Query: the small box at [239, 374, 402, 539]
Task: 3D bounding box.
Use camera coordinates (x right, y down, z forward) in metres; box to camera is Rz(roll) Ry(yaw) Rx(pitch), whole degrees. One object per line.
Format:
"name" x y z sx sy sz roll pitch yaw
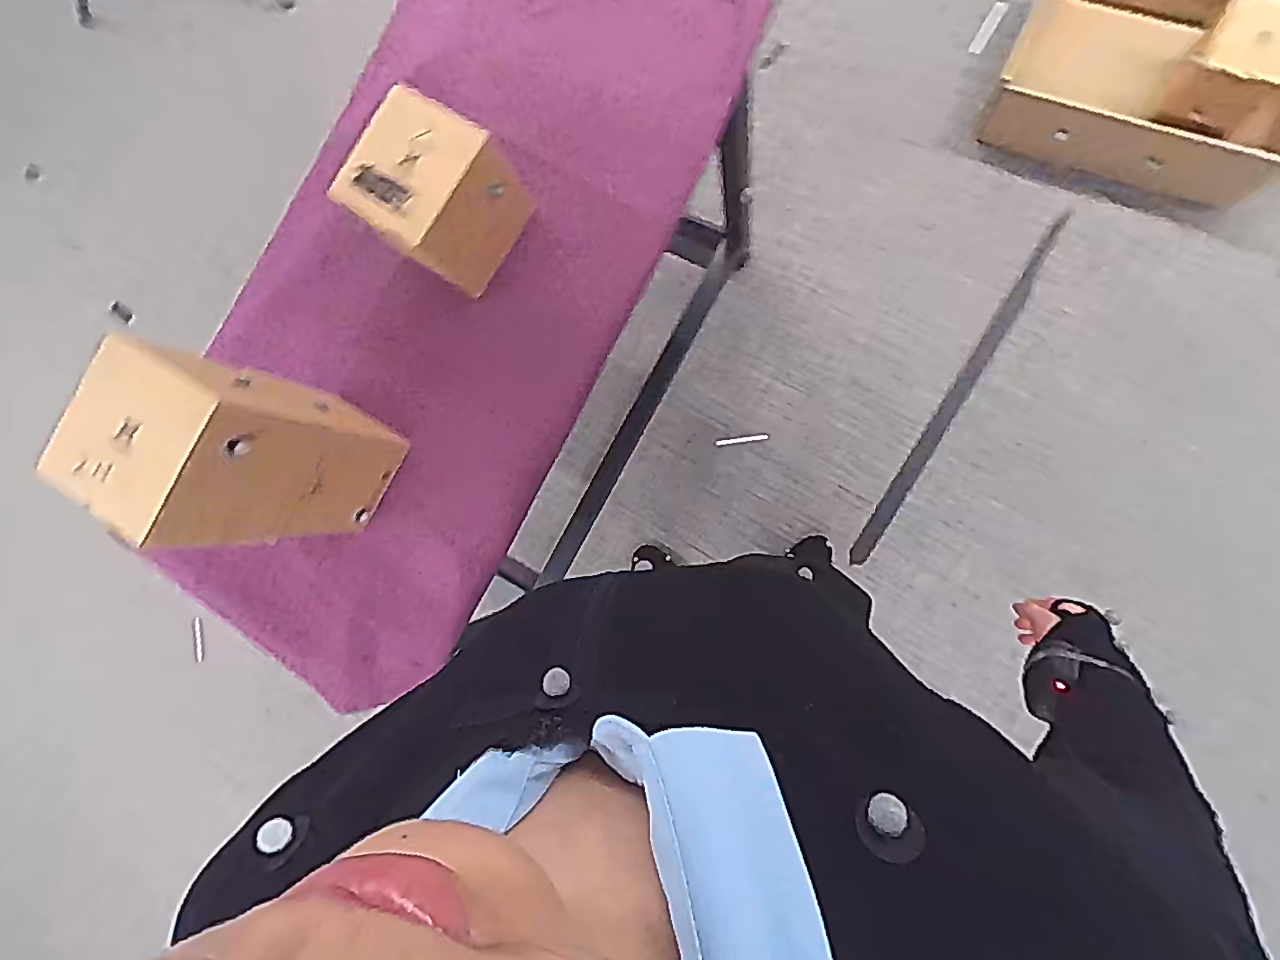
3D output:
"small box" -0.495 -0.030 0.799 0.179 0.176 0.168 30 91 11

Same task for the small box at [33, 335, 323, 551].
"small box" -0.518 -0.035 0.635 0.168 0.176 0.179 29 91 11

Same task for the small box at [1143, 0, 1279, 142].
"small box" 1.303 -0.916 1.218 0.168 0.176 0.179 25 91 12
